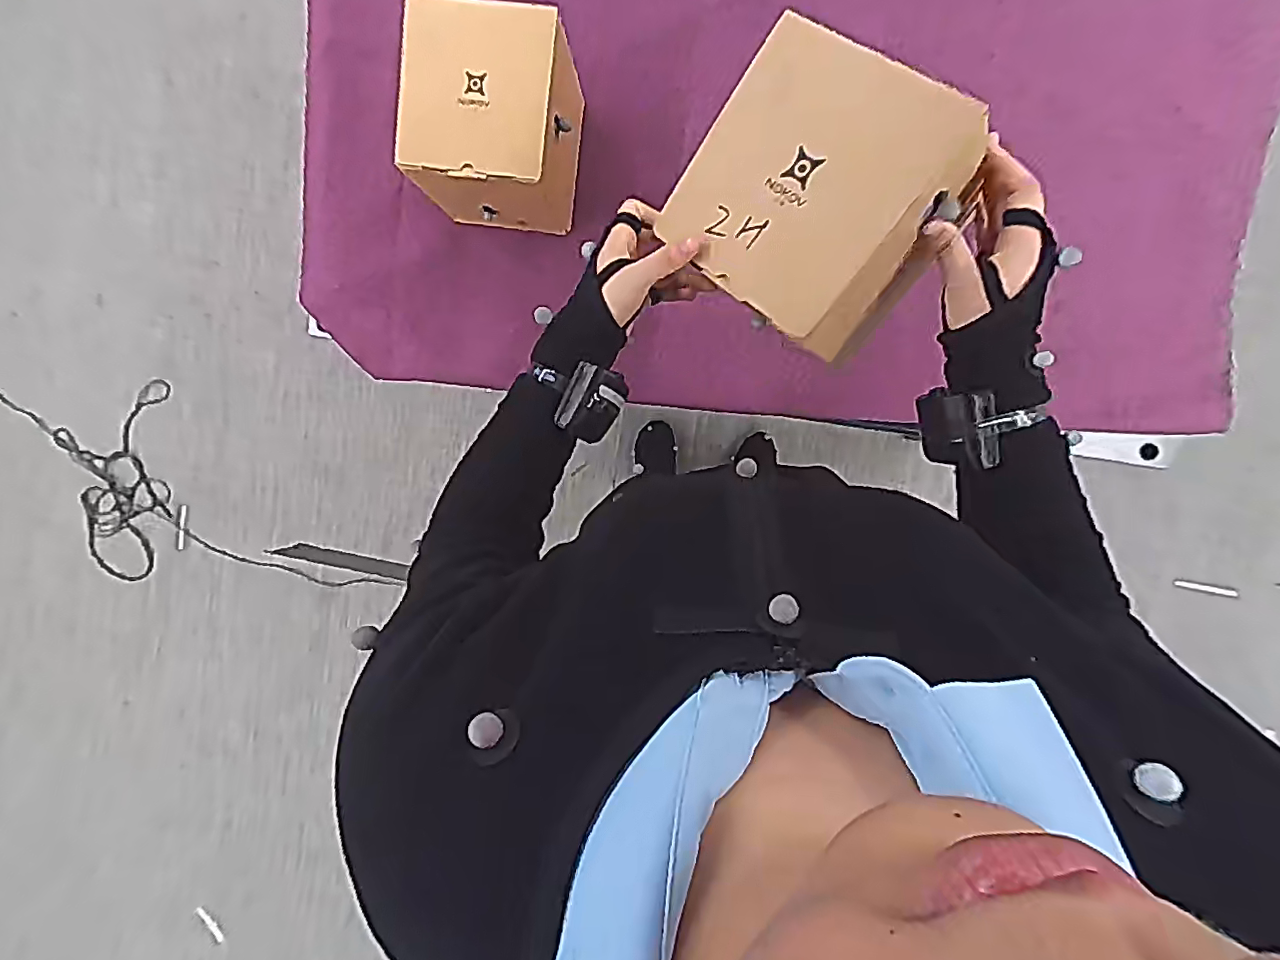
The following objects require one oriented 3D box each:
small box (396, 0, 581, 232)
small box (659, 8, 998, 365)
[{"bbox_3d":[-0.170,-0.426,0.655,0.168,0.176,0.179,8,98,2],"label":"small box"},{"bbox_3d":[0.154,-0.220,0.453,0.168,0.176,0.179,44,112,21],"label":"small box"}]
